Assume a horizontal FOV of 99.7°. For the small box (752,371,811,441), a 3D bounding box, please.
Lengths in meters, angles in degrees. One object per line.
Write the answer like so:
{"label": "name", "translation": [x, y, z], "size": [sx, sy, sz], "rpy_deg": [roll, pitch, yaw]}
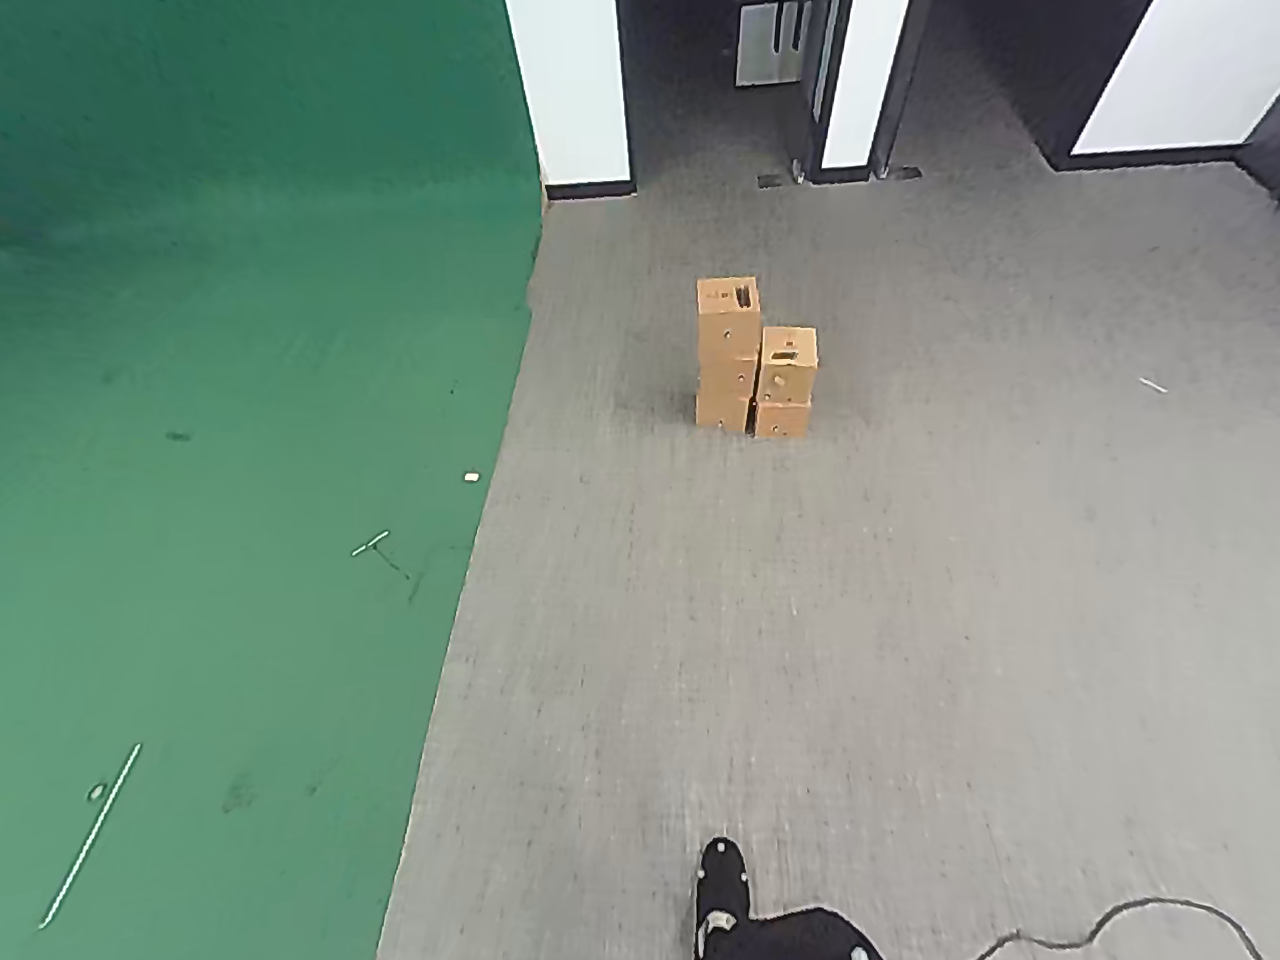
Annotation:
{"label": "small box", "translation": [0.477, -0.252, 1.853], "size": [0.168, 0.176, 0.179], "rpy_deg": [-1, 56, 5]}
